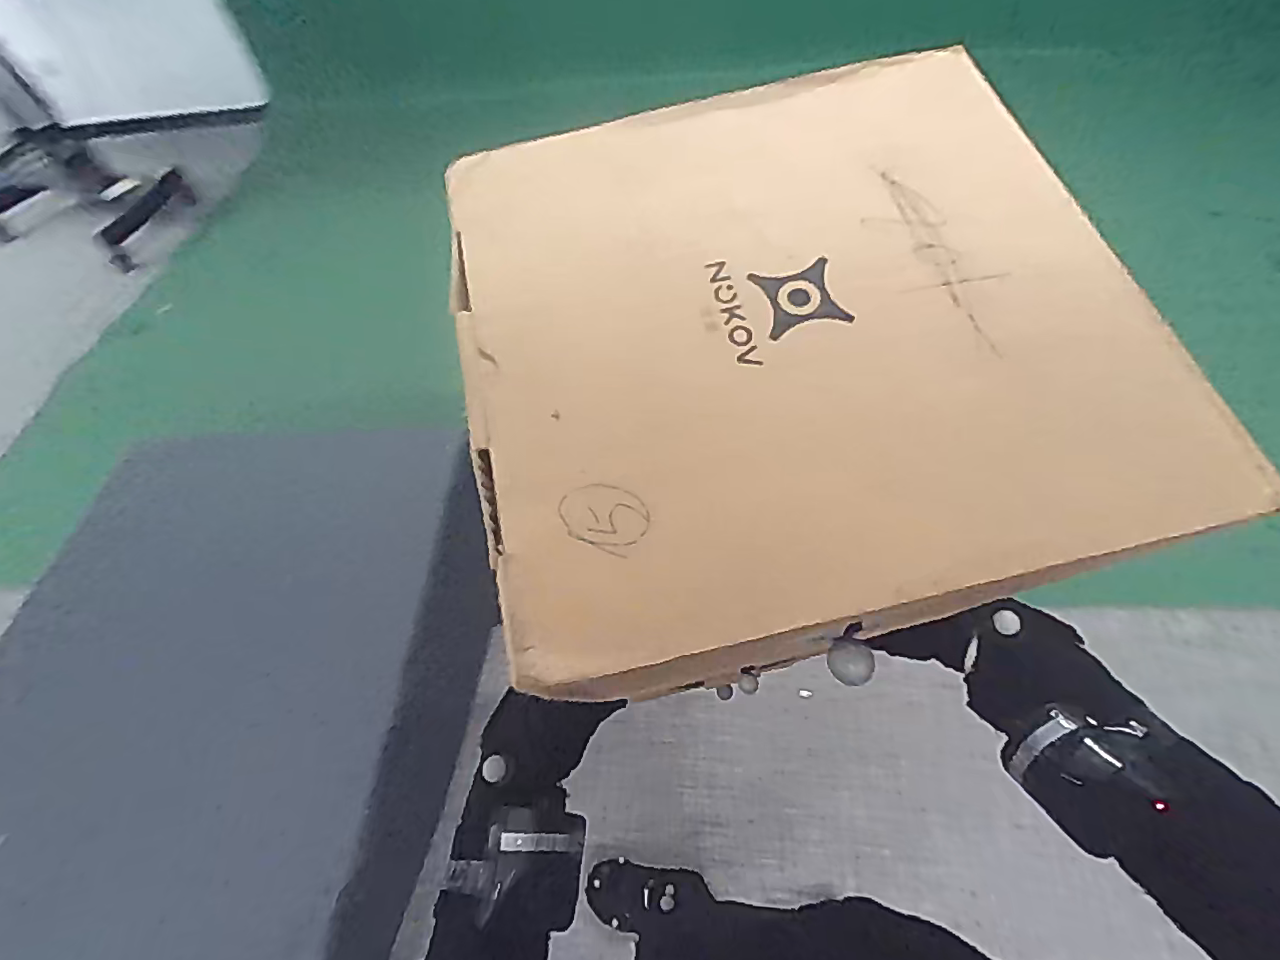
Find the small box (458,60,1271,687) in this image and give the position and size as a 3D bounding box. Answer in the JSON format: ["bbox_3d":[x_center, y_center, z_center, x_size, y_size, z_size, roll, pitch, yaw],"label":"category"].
[{"bbox_3d":[0.047,-0.017,0.223,0.179,0.176,0.168,-14,69,-2],"label":"small box"}]
